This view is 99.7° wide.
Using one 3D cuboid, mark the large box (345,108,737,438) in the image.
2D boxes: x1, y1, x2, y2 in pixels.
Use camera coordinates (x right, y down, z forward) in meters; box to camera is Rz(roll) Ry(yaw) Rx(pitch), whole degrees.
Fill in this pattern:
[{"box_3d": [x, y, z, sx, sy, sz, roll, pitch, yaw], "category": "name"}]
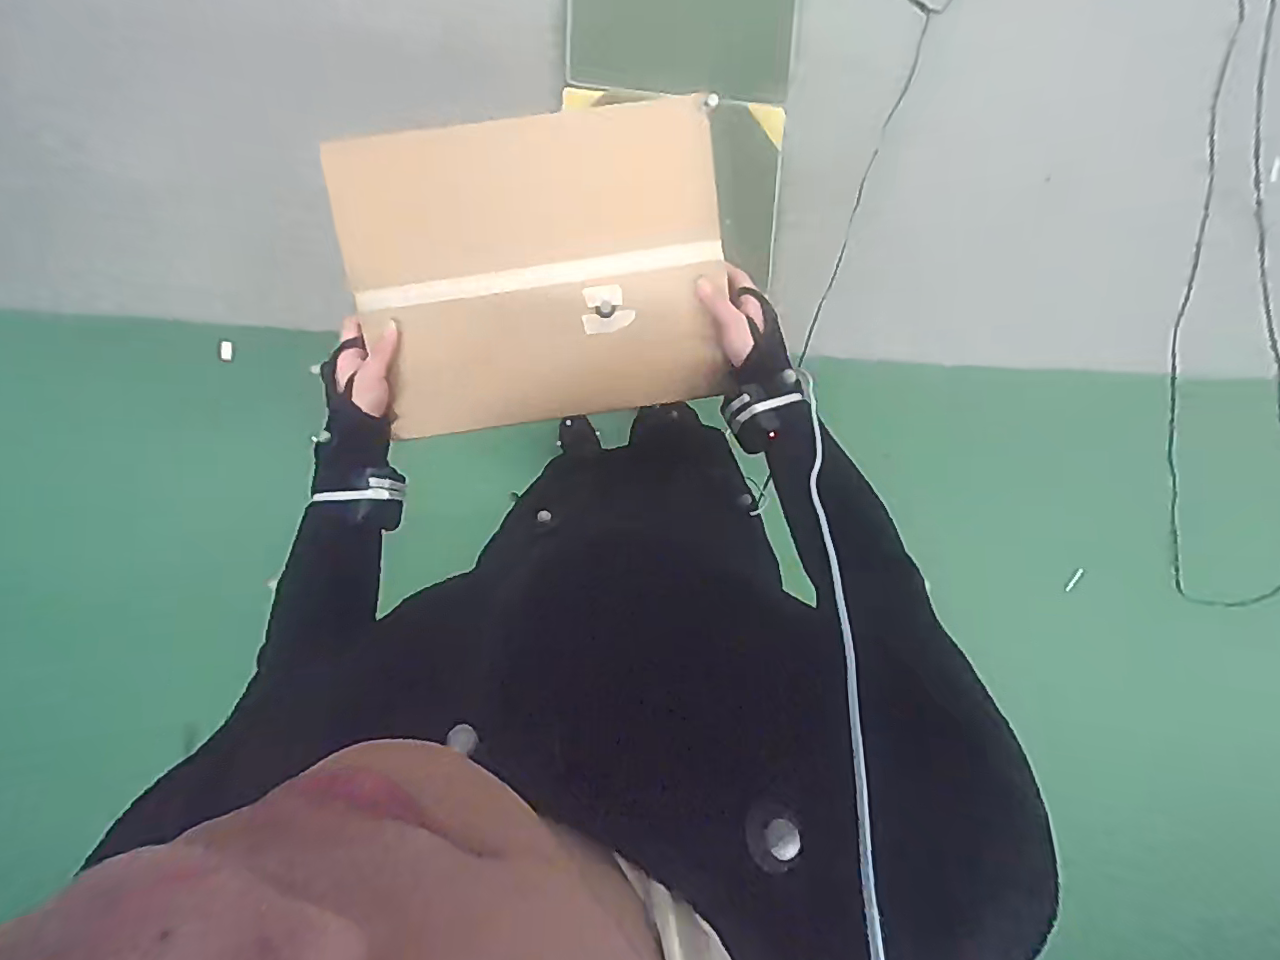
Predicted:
[{"box_3d": [-0.109, -0.253, 0.753, 0.408, 0.320, 0.320, -8, 102, -1], "category": "large box"}]
